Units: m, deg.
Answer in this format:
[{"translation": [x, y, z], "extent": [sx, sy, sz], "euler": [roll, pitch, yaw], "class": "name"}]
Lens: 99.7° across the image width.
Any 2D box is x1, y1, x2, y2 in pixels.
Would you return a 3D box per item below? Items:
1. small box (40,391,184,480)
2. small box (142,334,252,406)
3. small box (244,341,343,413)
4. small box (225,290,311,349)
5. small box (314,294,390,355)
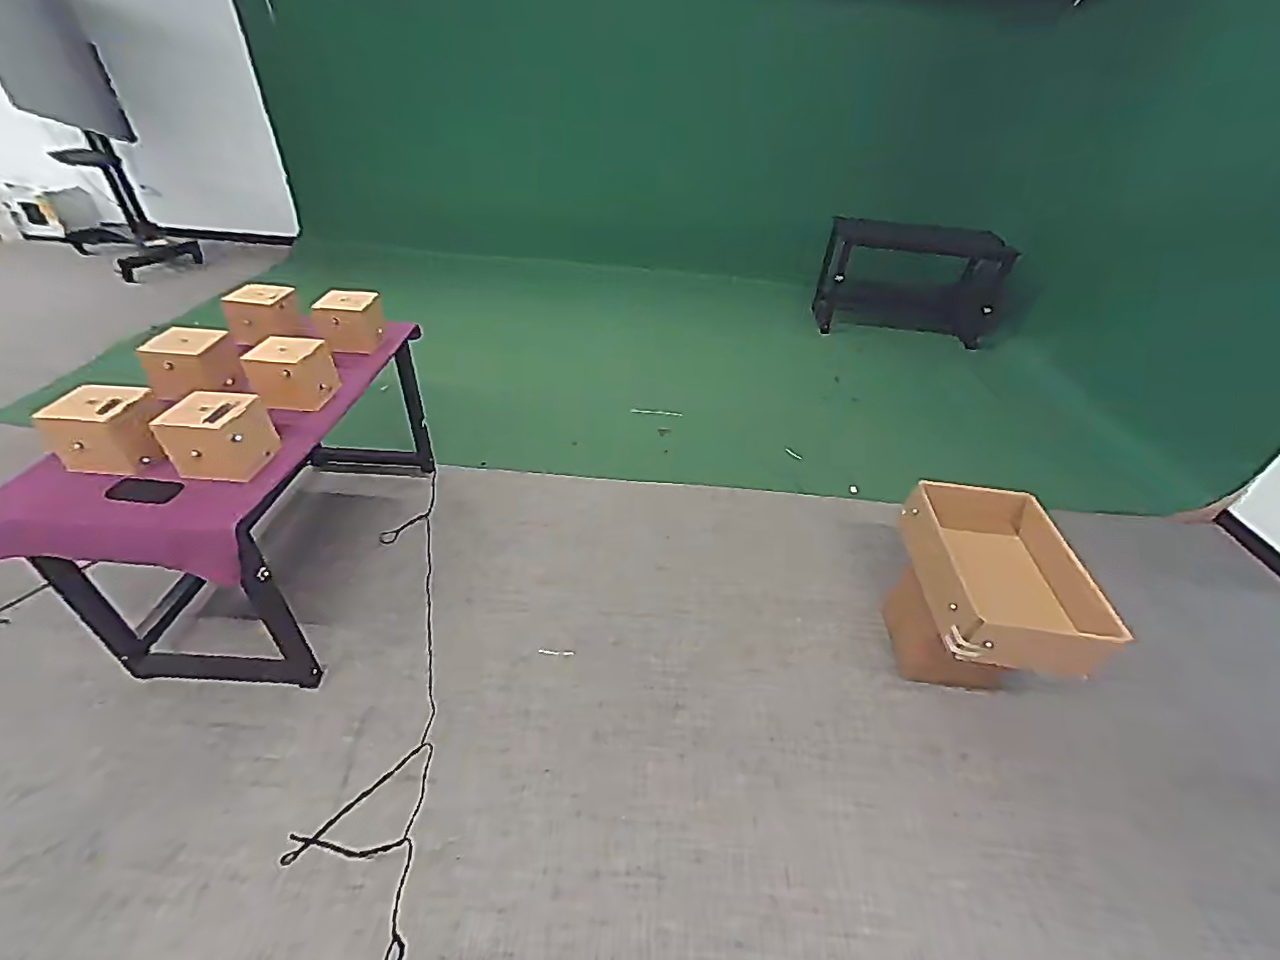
[{"translation": [-1.359, -0.115, 1.412], "extent": [0.179, 0.176, 0.168], "euler": [2, 39, -1], "class": "small box"}, {"translation": [-1.378, -0.344, 1.696], "extent": [0.179, 0.176, 0.168], "euler": [3, 40, -1], "class": "small box"}, {"translation": [-1.072, -0.321, 1.690], "extent": [0.179, 0.176, 0.168], "euler": [4, 39, 1], "class": "small box"}, {"translation": [-1.366, -0.589, 1.998], "extent": [0.179, 0.176, 0.168], "euler": [4, 40, 1], "class": "small box"}, {"translation": [-1.057, -0.573, 1.996], "extent": [0.179, 0.176, 0.168], "euler": [3, 40, -1], "class": "small box"}]
